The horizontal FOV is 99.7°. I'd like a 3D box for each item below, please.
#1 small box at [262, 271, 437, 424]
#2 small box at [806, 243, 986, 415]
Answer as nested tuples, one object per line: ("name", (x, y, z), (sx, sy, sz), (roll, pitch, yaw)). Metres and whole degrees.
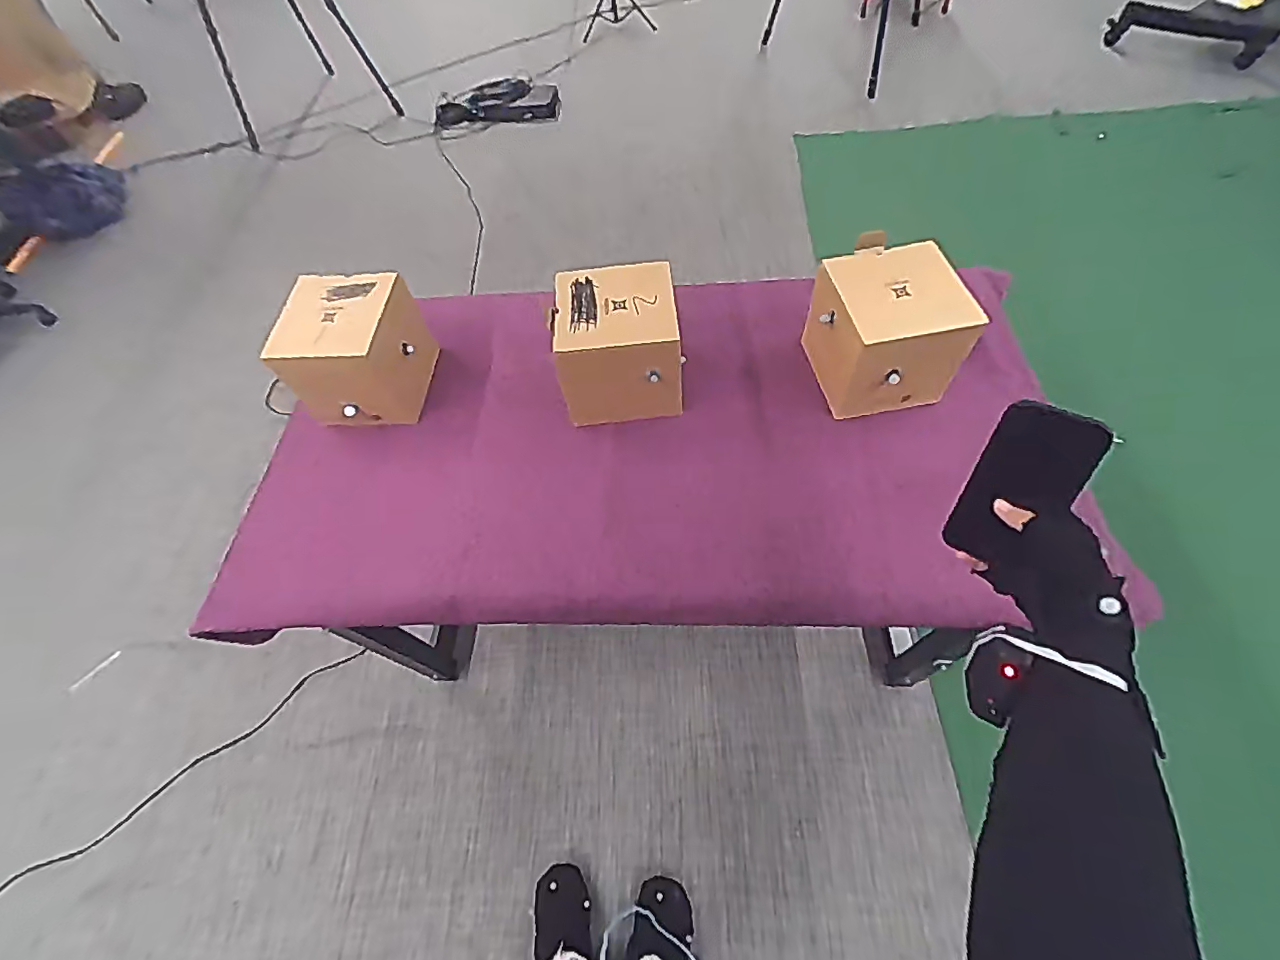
("small box", (-0.450, -0.211, 0.875), (0.168, 0.176, 0.179), (0, 61, 6))
("small box", (0.361, -0.213, 0.802), (0.168, 0.176, 0.179), (-10, 58, 0))
